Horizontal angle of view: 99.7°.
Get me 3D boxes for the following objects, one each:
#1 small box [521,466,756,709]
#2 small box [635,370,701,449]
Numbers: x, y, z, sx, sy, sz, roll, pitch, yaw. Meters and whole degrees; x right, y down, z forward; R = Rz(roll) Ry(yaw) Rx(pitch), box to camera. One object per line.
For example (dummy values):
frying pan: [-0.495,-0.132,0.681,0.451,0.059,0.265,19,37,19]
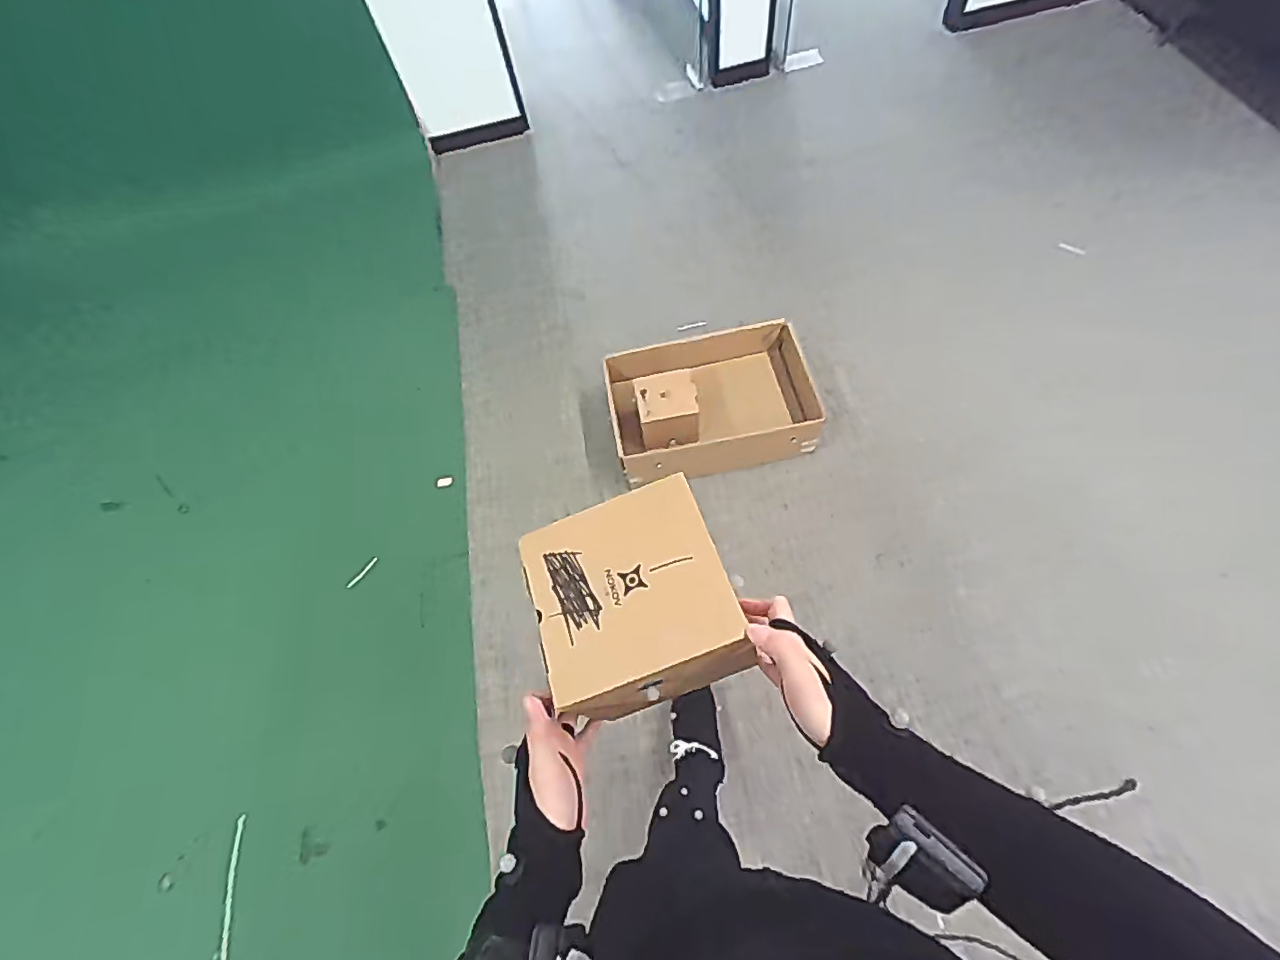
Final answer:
small box: [0.006,0.119,0.547,0.179,0.176,0.168,-22,61,3]
small box: [0.086,-0.215,1.680,0.179,0.176,0.168,-10,62,0]
